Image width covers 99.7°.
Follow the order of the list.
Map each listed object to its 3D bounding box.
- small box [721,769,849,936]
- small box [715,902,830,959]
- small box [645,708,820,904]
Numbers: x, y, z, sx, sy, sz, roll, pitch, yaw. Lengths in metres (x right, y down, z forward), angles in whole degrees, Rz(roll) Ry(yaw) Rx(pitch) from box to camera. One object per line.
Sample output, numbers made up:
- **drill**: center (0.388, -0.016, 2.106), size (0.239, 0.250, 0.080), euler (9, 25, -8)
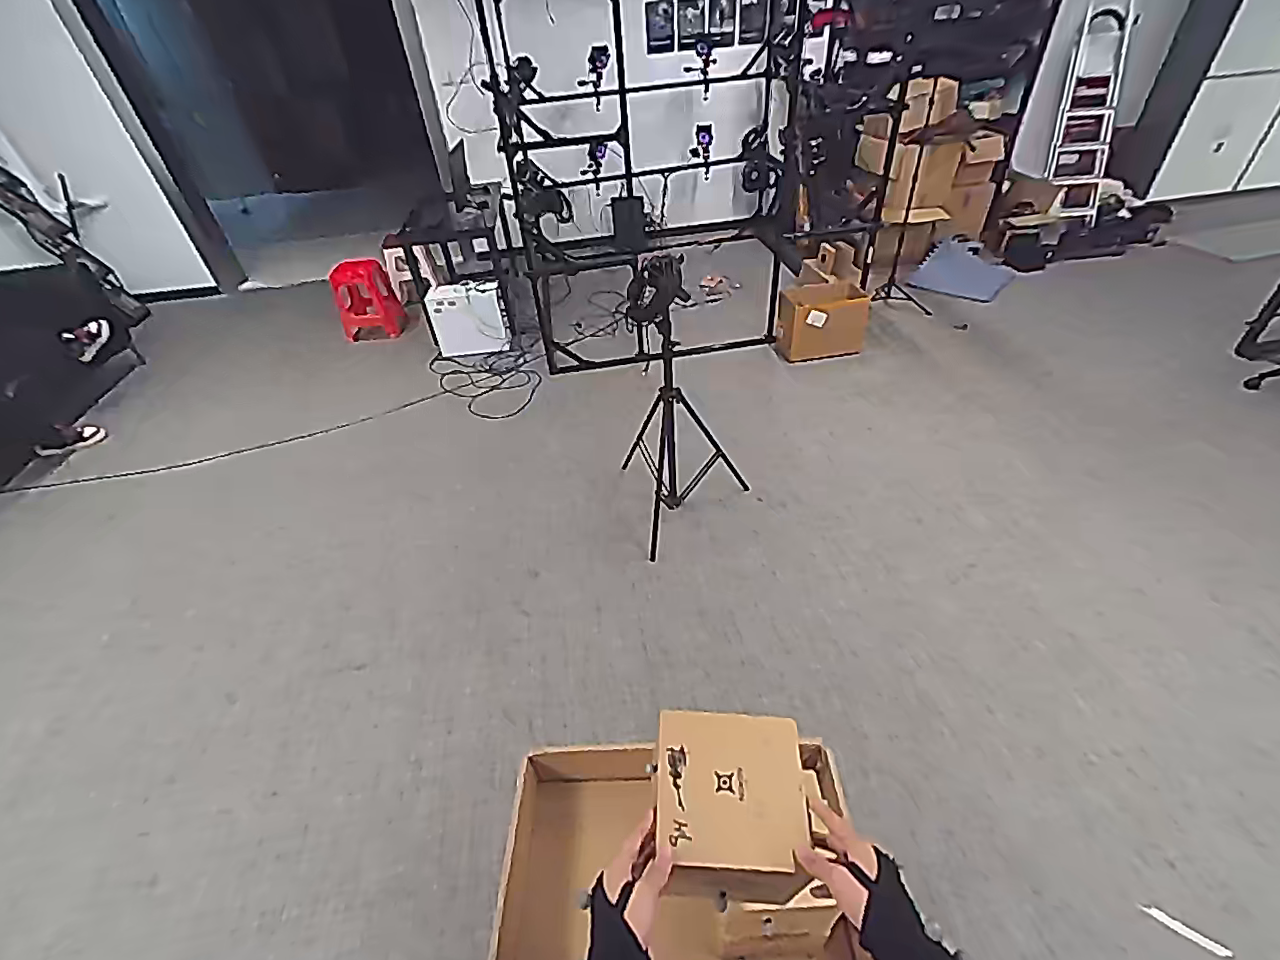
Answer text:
- **small box**: center (0.202, 0.574, 0.830), size (0.168, 0.176, 0.179), euler (-4, 39, 1)
- **small box**: center (0.213, 0.700, 0.933), size (0.168, 0.176, 0.179), euler (-5, 39, 1)
- **small box**: center (0.102, 0.406, 0.670), size (0.179, 0.176, 0.168), euler (4, 43, 1)
